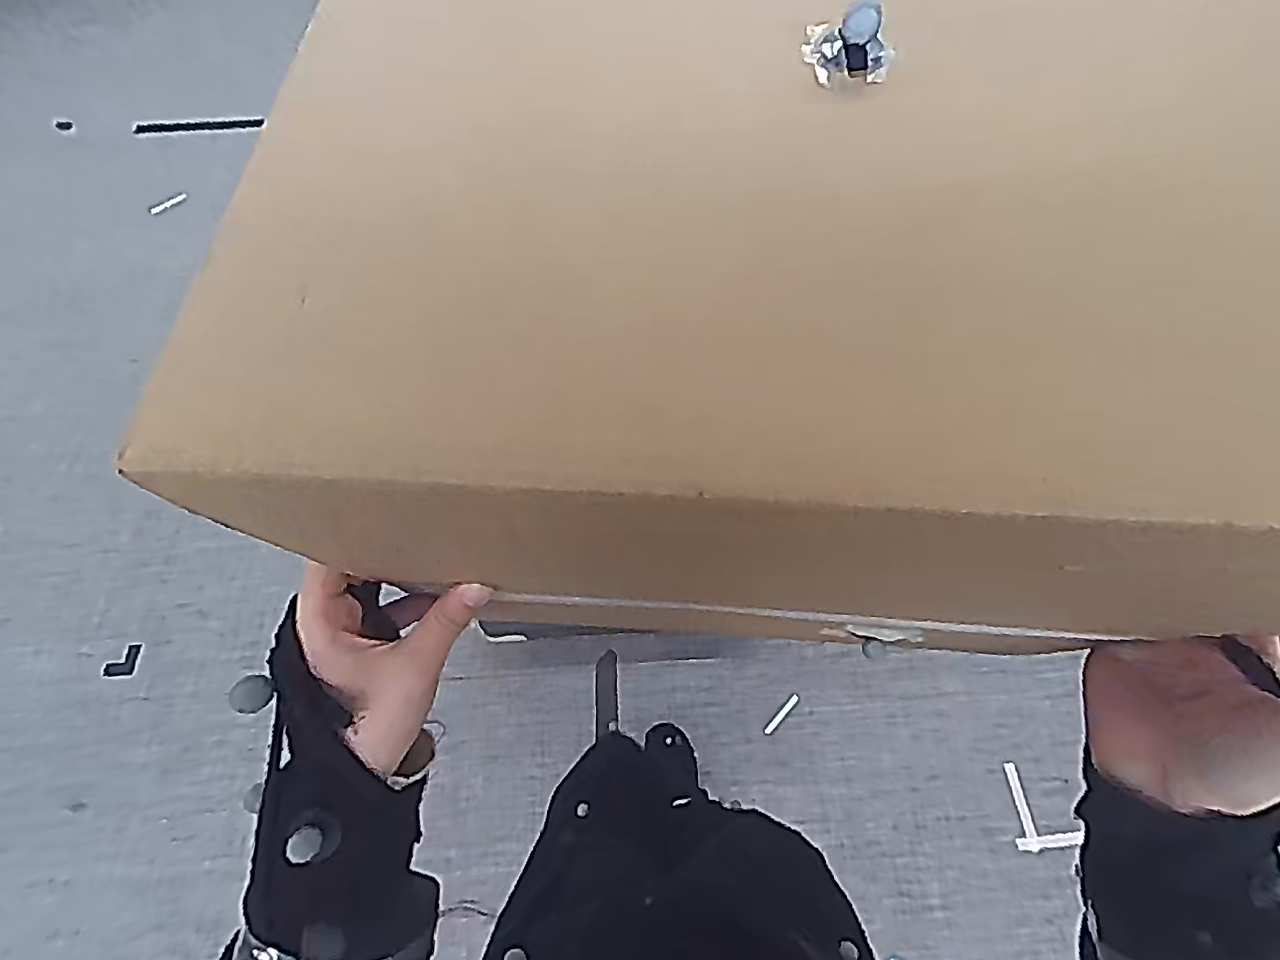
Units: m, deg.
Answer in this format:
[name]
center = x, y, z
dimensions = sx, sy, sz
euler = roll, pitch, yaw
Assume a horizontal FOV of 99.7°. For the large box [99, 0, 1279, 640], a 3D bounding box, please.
[large box]
center = 0.058, -0.084, 0.325
dimensions = 0.408, 0.320, 0.320
euler = 2, 70, 3
